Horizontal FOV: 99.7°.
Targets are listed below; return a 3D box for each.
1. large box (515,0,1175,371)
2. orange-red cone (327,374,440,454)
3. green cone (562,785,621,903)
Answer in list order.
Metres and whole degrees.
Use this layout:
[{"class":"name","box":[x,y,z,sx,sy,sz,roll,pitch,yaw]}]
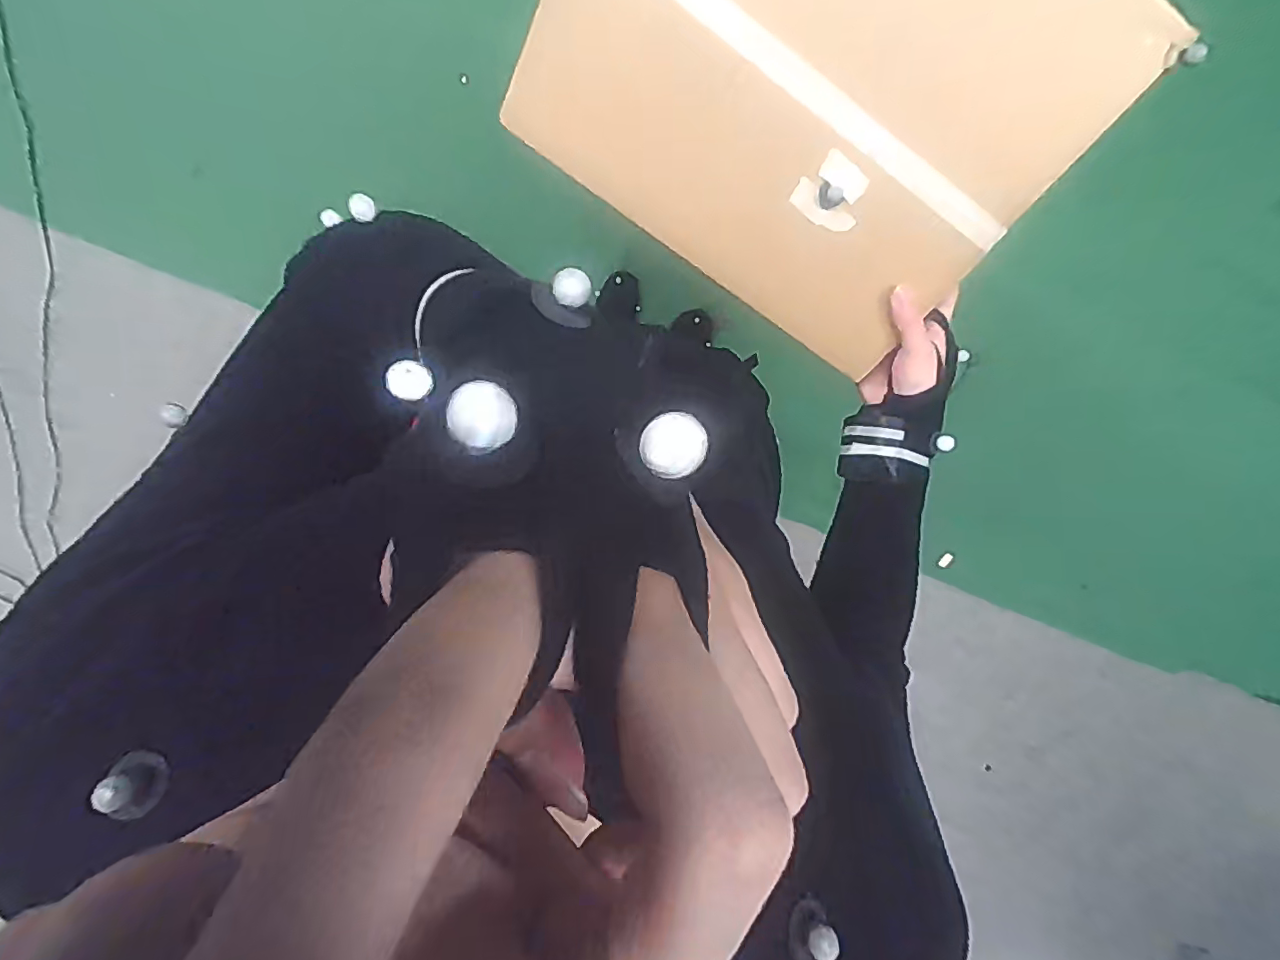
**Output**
[{"class":"large box","box":[0.152,-0.387,0.545,0.408,0.320,0.320,31,125,-11]},{"class":"orange-red cone","box":[-0.742,-0.143,1.491,0.199,0.360,0.198,29,108,-6]},{"class":"green cone","box":[-0.204,1.398,2.042,0.200,0.368,0.202,27,108,-7]}]
